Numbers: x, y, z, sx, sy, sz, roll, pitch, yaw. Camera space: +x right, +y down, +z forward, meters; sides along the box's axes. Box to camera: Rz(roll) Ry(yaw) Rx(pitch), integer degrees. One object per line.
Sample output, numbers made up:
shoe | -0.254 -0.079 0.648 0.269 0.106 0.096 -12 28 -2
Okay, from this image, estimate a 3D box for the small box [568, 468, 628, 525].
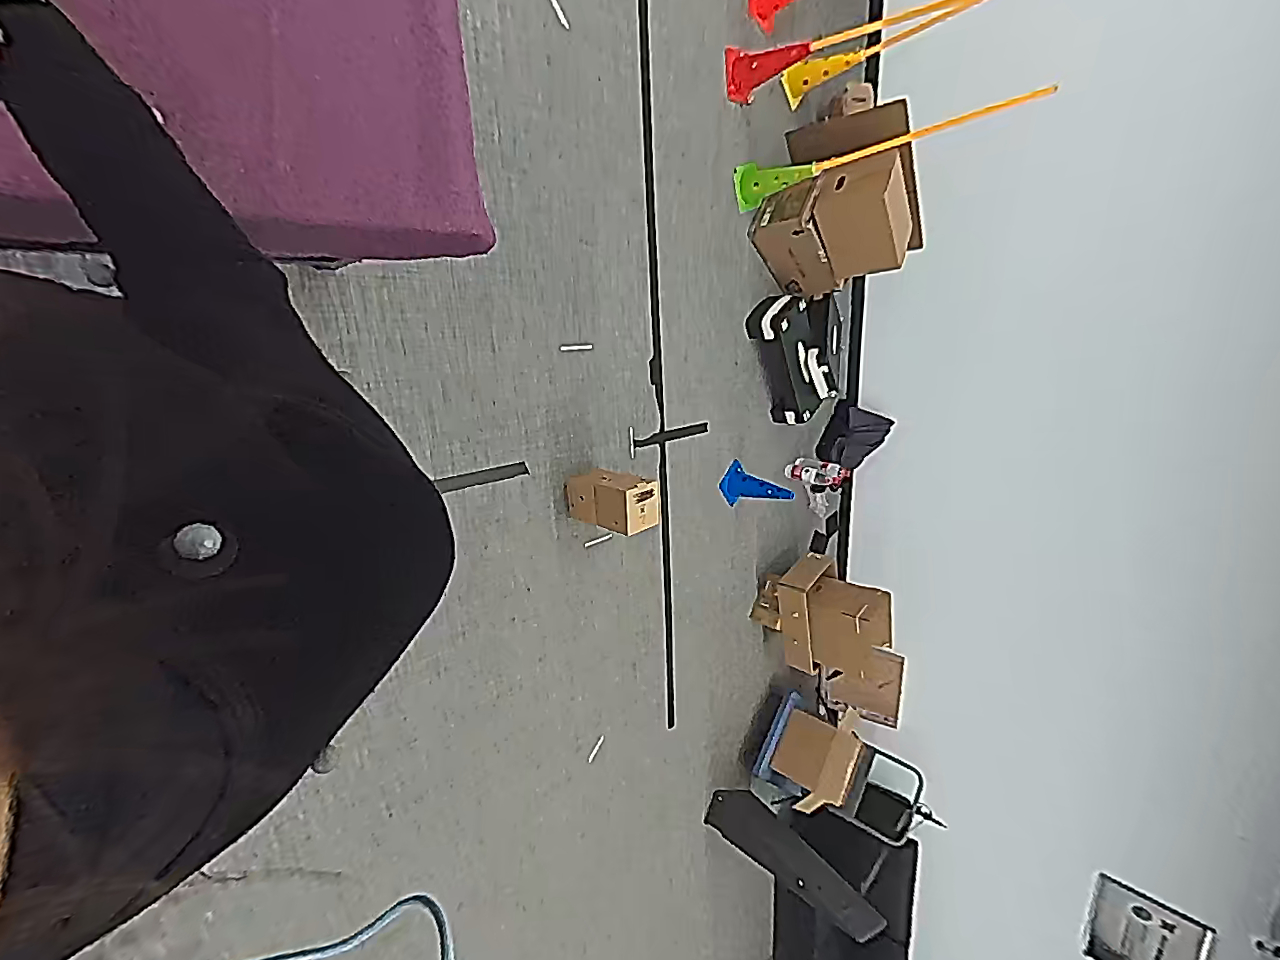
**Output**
small box | -0.171 0.060 2.129 0.179 0.176 0.168 -22 115 -42
